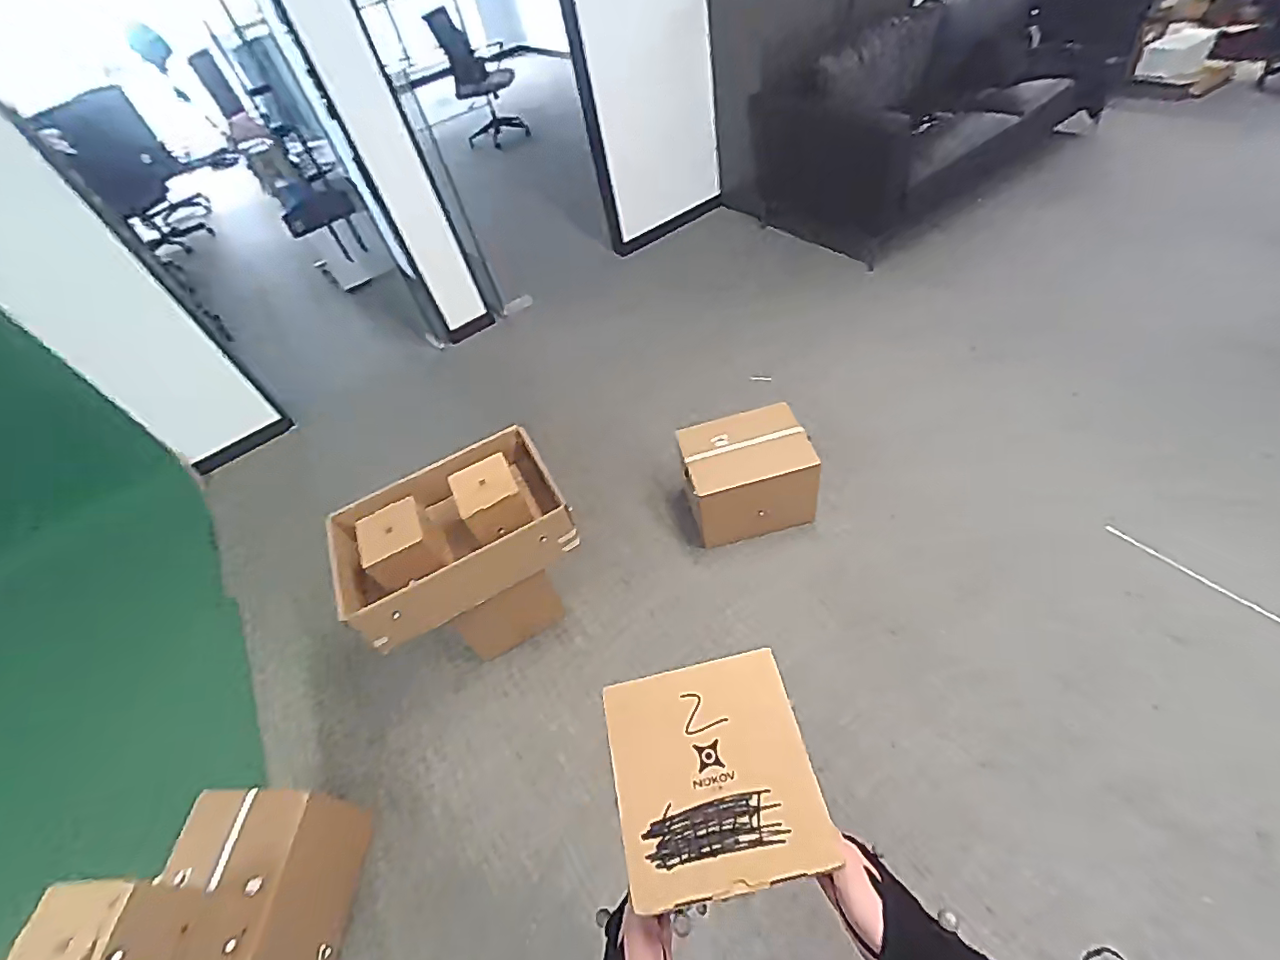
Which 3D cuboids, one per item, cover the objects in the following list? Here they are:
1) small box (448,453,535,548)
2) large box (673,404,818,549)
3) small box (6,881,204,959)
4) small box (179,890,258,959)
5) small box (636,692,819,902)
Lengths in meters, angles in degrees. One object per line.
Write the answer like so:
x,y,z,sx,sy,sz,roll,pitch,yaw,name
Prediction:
-0.419,0.060,1.537,0.168,0.176,0.179,-27,51,-11,small box
0.363,-0.008,1.889,0.408,0.320,0.320,-16,48,0,large box
-0.924,0.803,0.930,0.179,0.176,0.168,-7,49,7,small box
-0.908,0.910,1.054,0.179,0.176,0.168,-6,49,6,small box
0.100,0.382,0.652,0.168,0.176,0.179,-13,52,0,small box
